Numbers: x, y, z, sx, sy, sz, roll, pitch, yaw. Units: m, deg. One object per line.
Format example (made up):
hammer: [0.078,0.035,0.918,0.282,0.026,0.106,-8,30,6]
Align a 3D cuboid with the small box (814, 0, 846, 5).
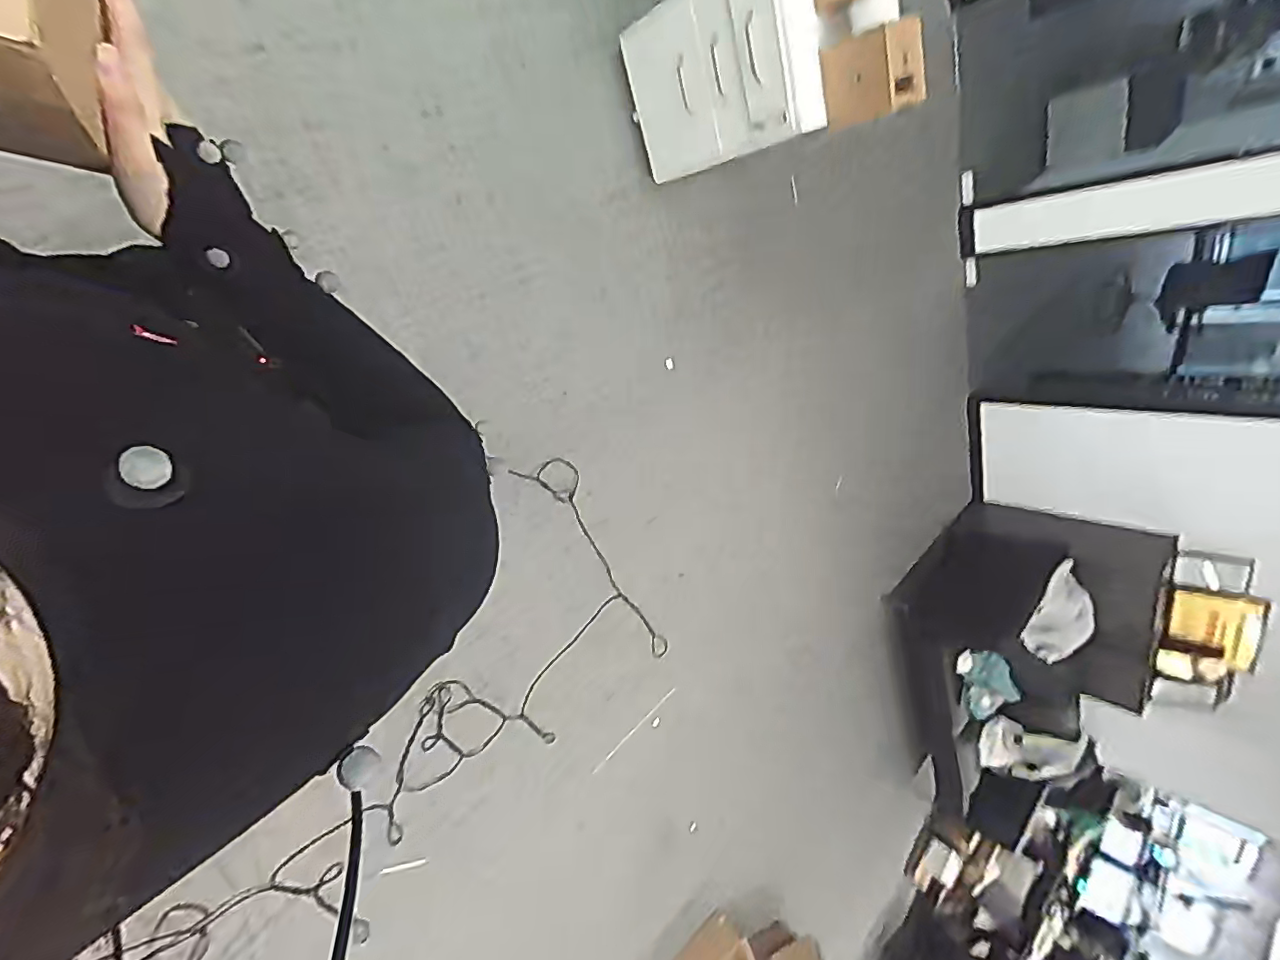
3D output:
small box: [0.483,-1.208,1.204,0.168,0.176,0.179,-35,122,-28]
